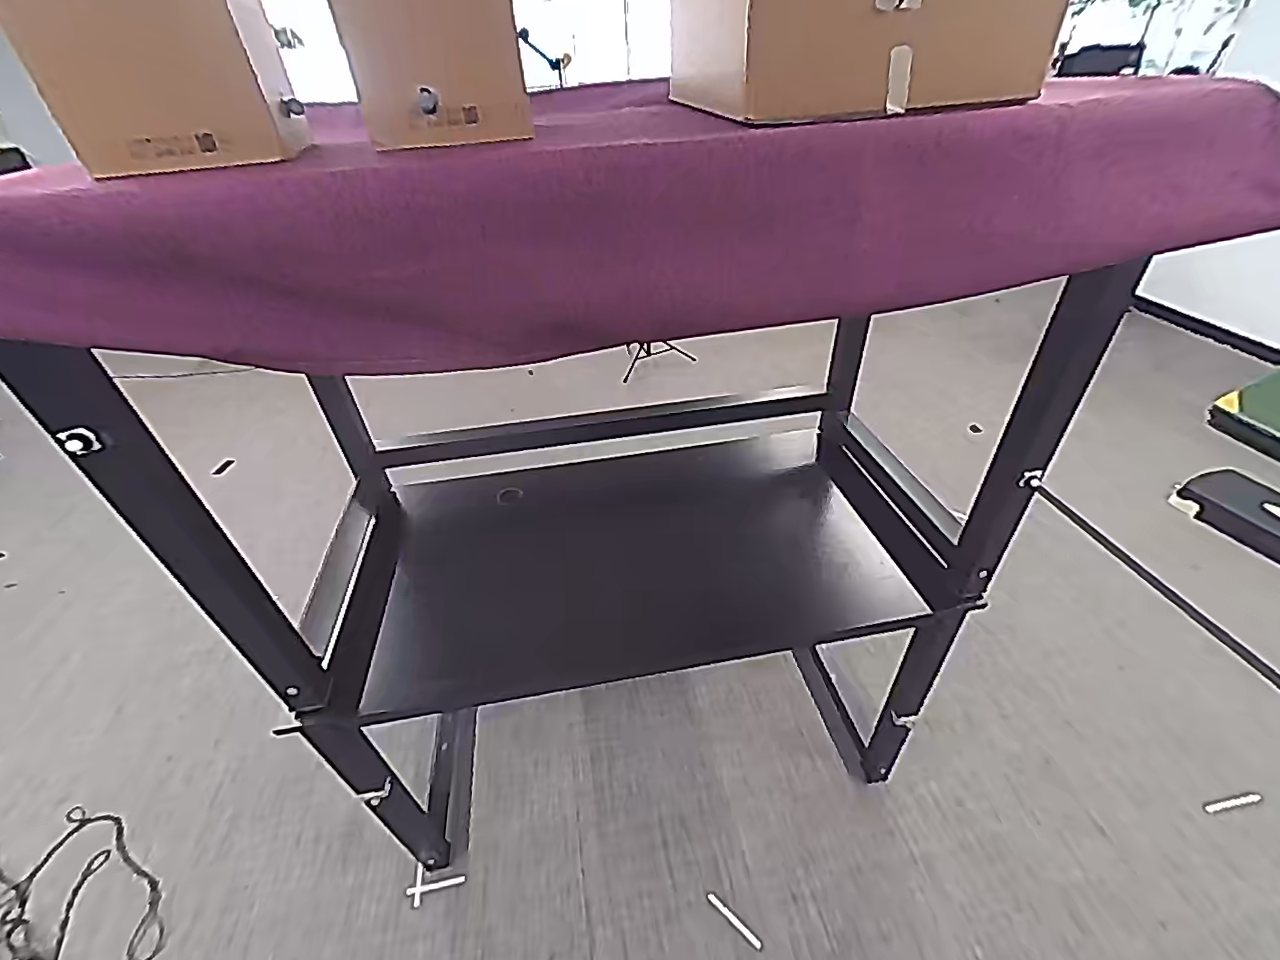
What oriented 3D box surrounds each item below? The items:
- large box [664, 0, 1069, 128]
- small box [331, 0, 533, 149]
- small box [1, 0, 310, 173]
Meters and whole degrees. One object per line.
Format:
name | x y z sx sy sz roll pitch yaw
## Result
large box | 0.211 -0.590 0.591 0.320 0.320 0.408 -7 37 -5
small box | -0.211 -0.459 0.572 0.168 0.176 0.179 -10 39 -6
small box | -0.444 -0.401 0.517 0.168 0.176 0.179 -14 38 -12
